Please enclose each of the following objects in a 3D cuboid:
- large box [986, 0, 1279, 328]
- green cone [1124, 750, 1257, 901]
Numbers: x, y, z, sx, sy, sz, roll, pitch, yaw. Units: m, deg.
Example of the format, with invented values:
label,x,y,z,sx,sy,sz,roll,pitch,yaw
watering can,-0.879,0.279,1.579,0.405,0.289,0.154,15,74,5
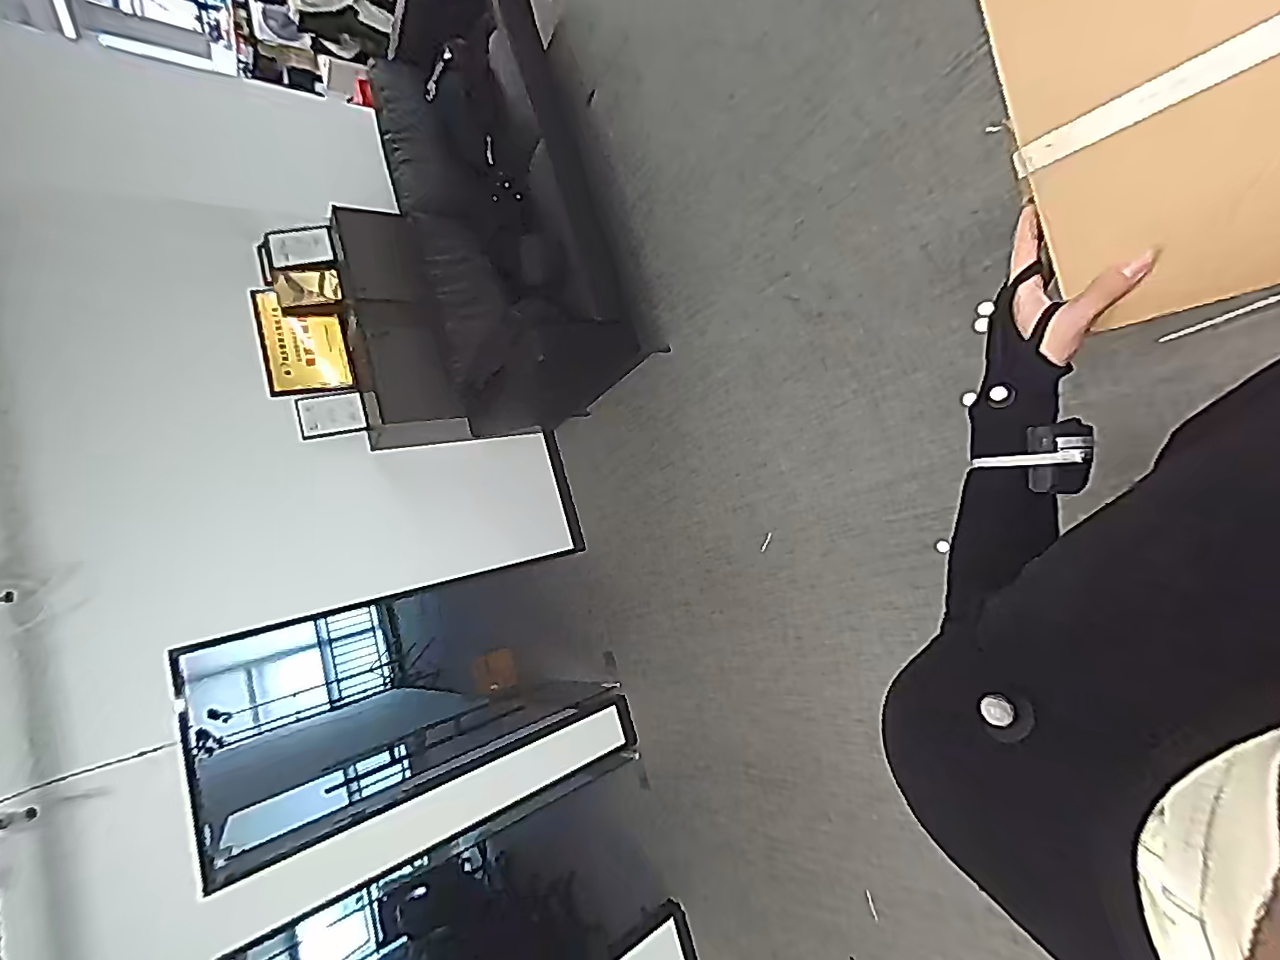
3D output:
label,x,y,z,sx,sy,sz,roll,pitch,yaw
large box,0.551,-0.355,0.398,0.408,0.320,0.320,-13,103,48
green cone,1.156,0.780,1.178,0.200,0.368,0.202,-17,85,54
